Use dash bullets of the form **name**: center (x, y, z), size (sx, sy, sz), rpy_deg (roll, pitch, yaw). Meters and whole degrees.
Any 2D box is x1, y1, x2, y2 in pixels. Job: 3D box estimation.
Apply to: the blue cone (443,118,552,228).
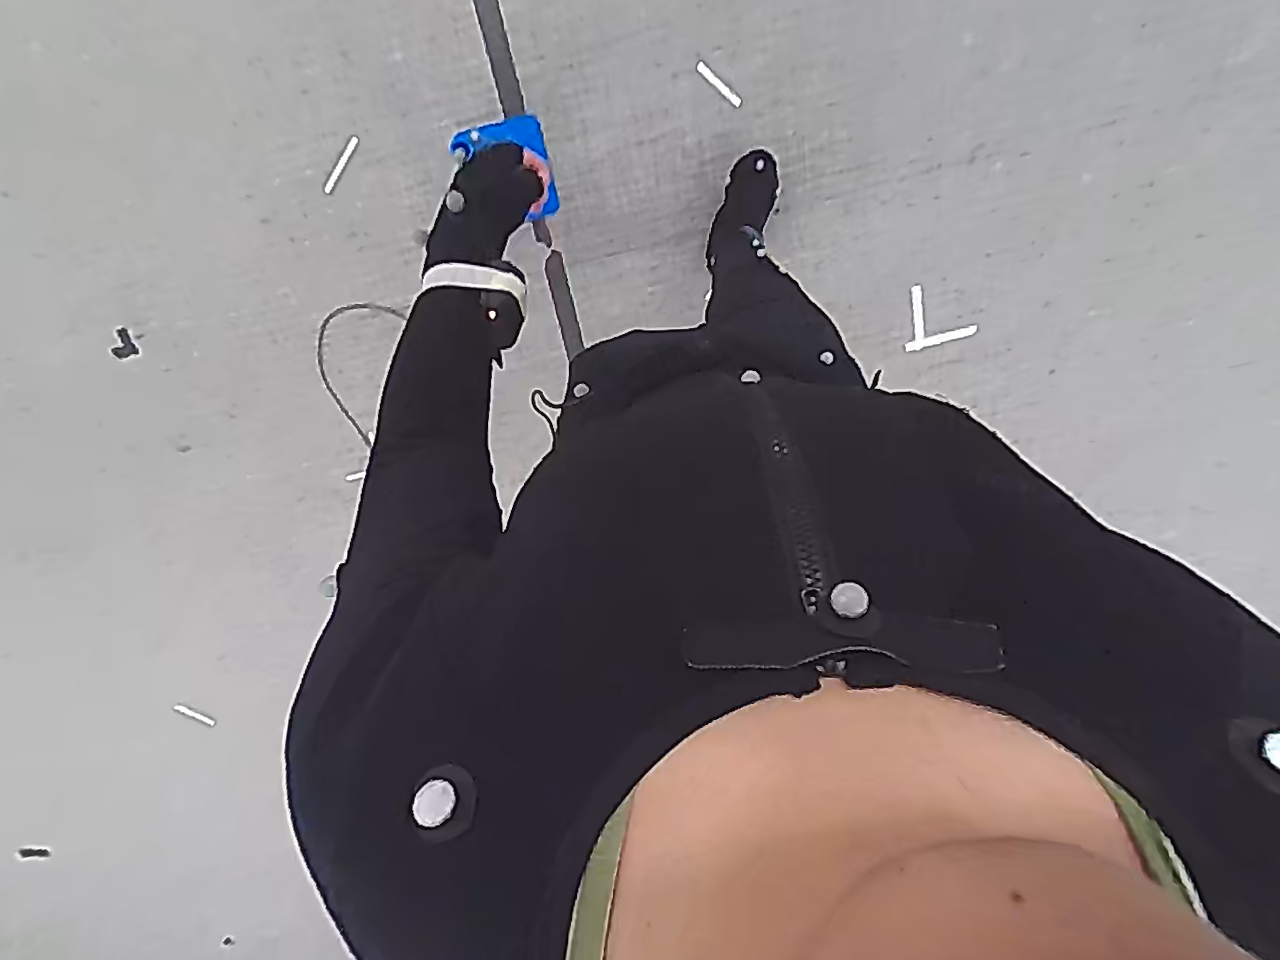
- **blue cone**: center (-0.302, -0.609, 1.054), size (0.193, 0.380, 0.192), rpy_deg (-12, 113, 6)
